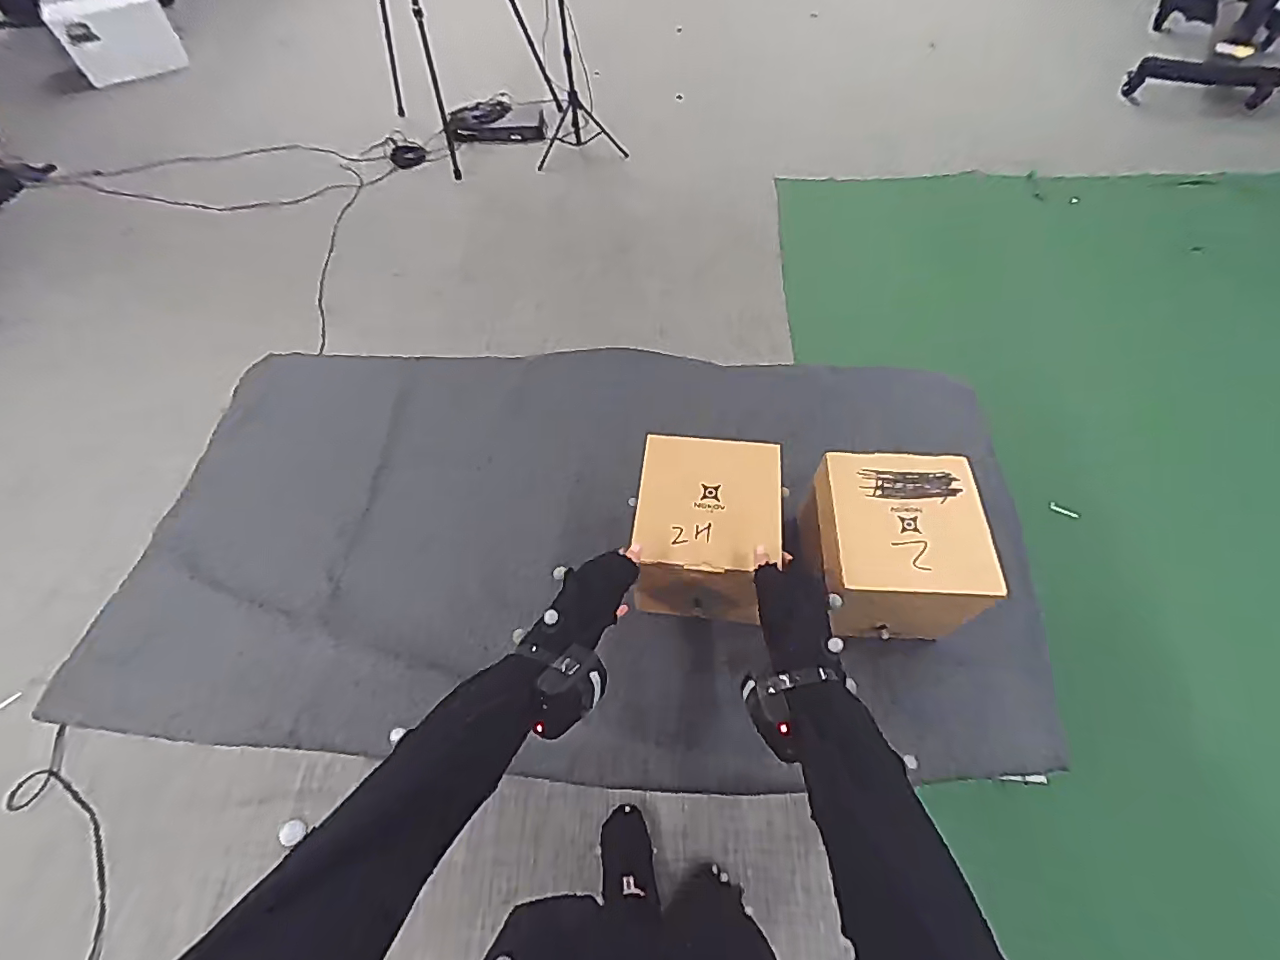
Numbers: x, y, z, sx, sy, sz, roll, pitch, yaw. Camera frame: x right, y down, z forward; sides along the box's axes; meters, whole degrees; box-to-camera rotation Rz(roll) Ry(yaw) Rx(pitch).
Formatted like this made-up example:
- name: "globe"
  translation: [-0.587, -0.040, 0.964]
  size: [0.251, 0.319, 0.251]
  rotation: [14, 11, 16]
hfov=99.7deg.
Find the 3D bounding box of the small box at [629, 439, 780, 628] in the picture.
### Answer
- name: "small box"
  translation: [0.081, 0.072, 0.693]
  size: [0.168, 0.176, 0.179]
  rotation: [5, 58, 6]
